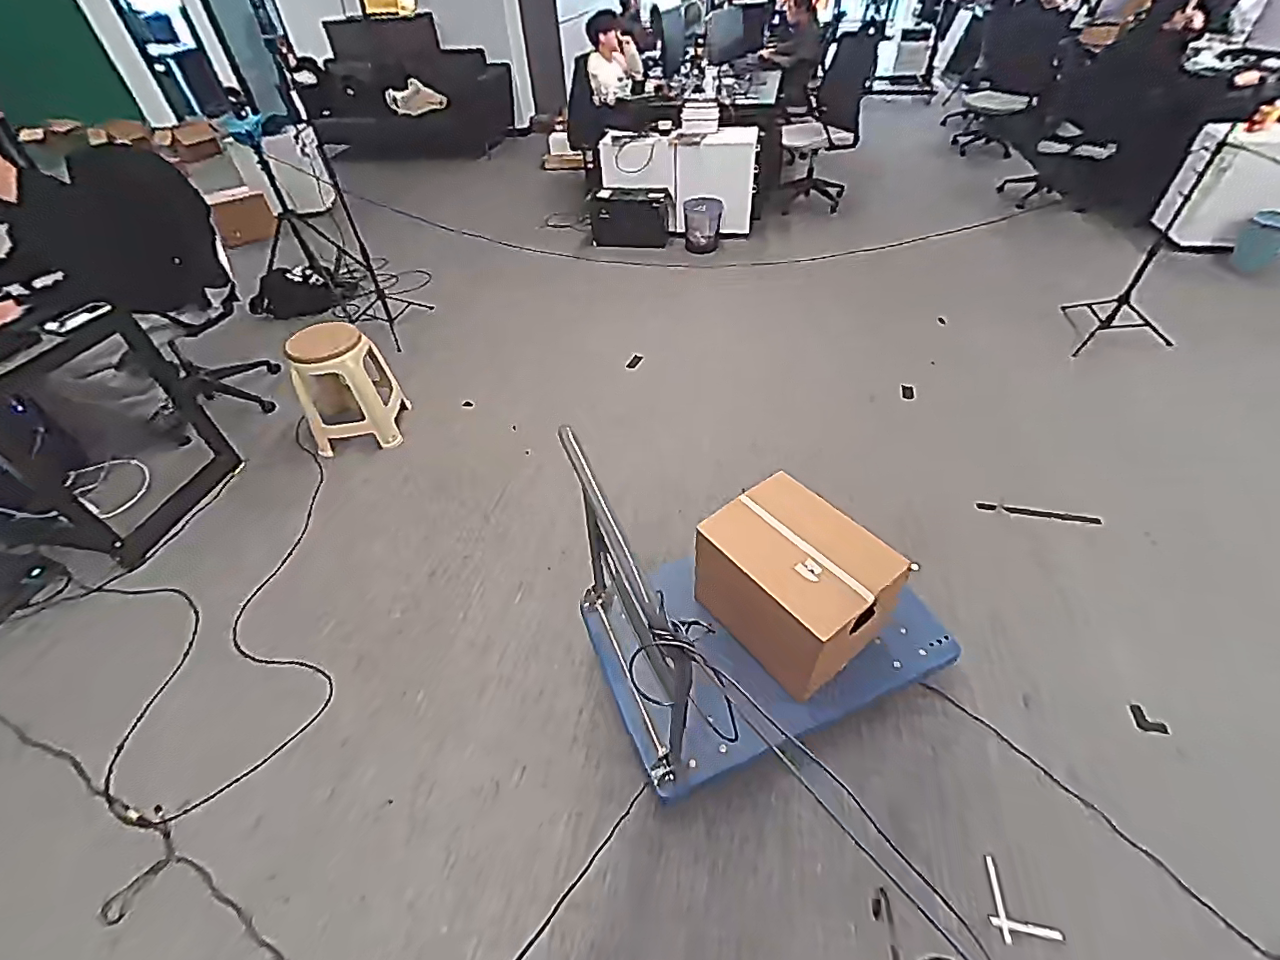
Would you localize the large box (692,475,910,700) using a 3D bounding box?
[{"bbox_3d":[0.380,0.262,1.382,0.320,0.320,0.408,-30,51,-23],"label":"large box"}]
